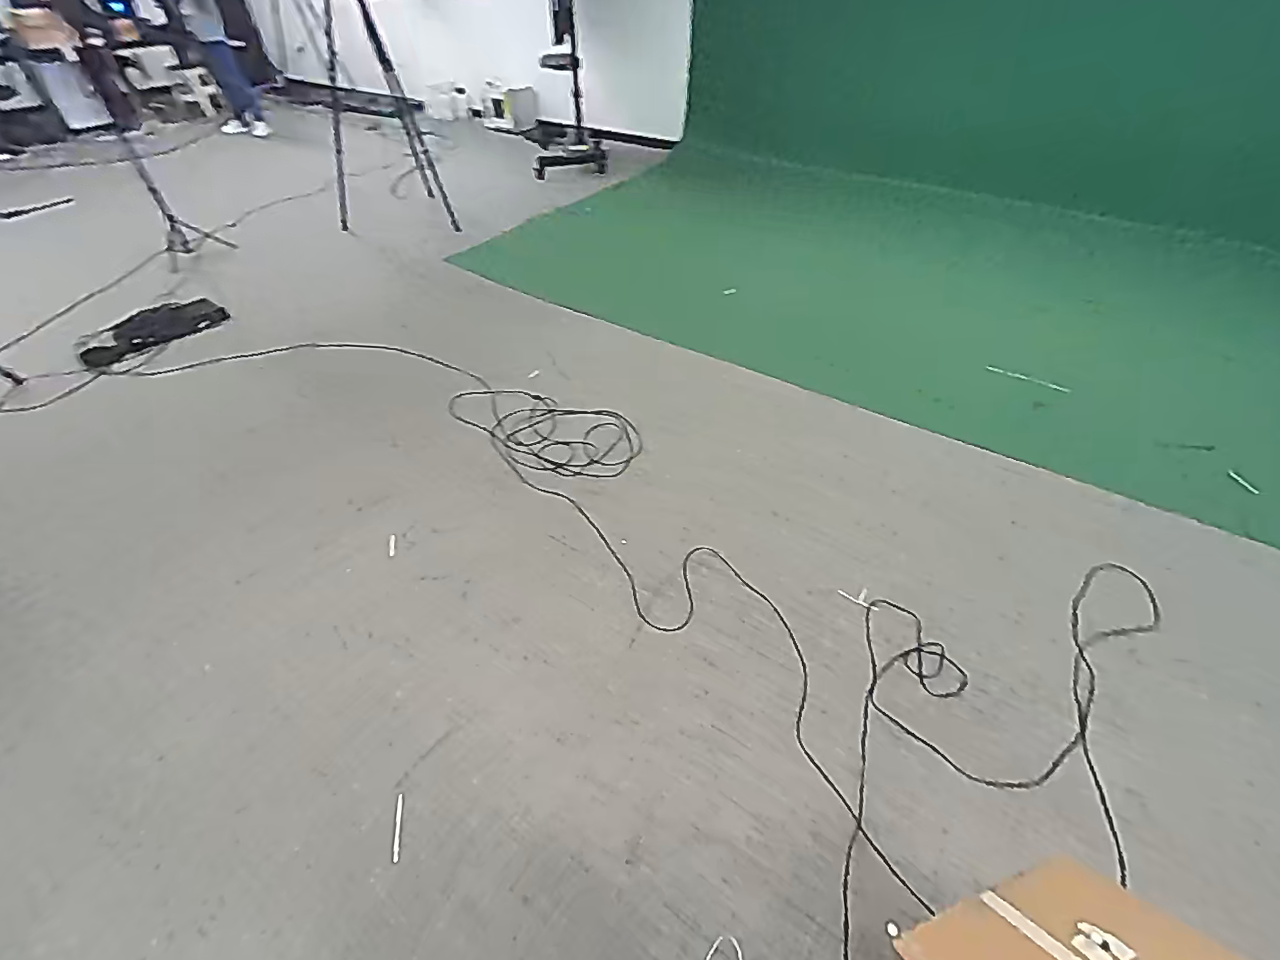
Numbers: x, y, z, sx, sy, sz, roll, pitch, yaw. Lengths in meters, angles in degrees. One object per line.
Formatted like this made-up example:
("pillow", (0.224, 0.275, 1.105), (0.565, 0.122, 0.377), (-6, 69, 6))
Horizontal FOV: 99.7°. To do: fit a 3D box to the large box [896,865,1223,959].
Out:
("large box", (0.575, 0.736, 0.579), (0.320, 0.408, 0.320), (-14, 86, -12))
